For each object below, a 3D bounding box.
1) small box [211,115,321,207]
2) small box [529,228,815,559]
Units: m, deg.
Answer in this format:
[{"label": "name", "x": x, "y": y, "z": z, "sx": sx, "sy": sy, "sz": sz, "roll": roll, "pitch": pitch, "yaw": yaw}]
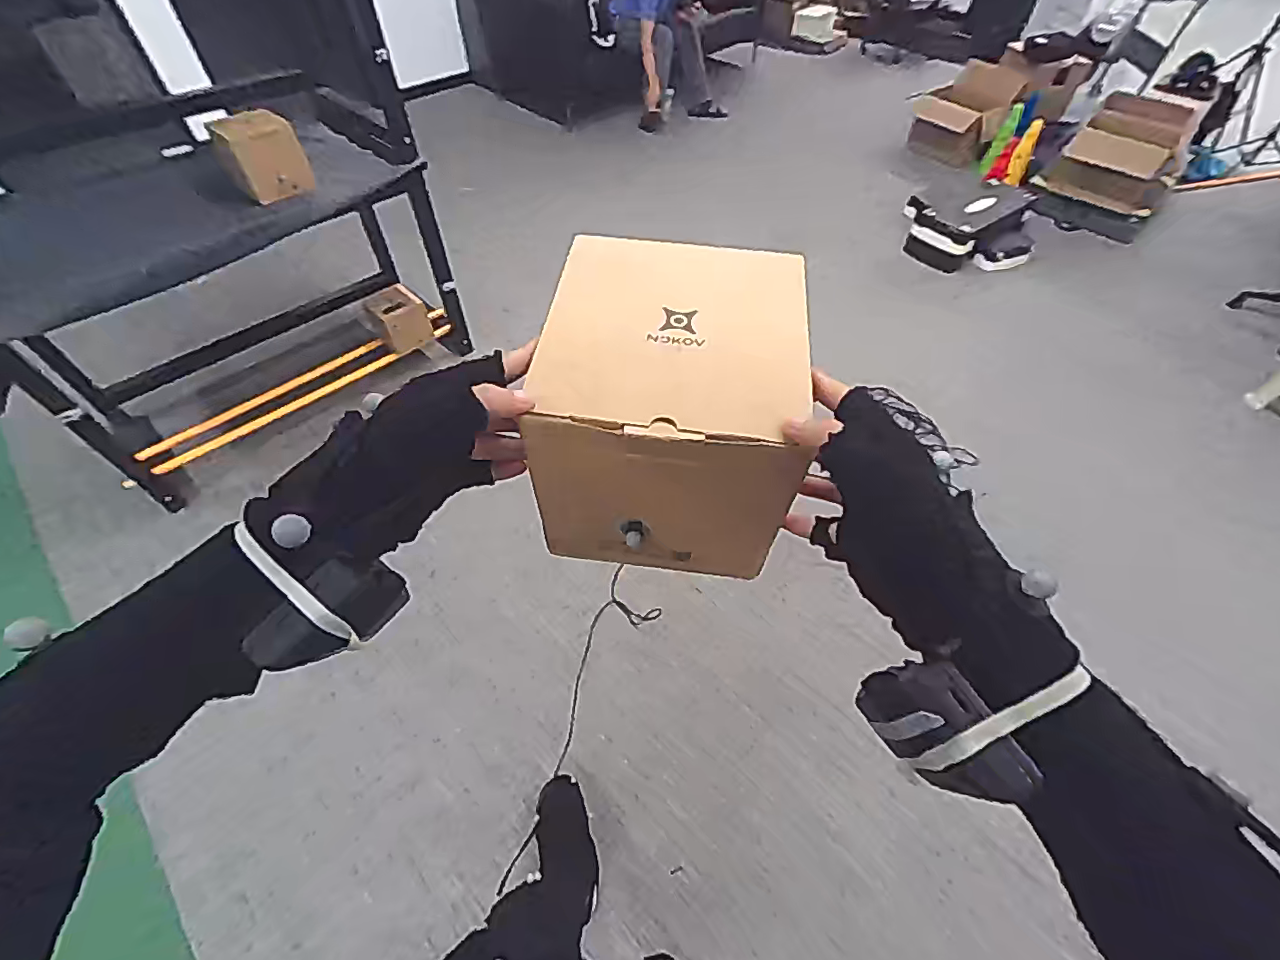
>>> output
[{"label": "small box", "x": -1.051, "y": -0.899, "z": 1.530, "sx": 0.179, "sy": 0.176, "sz": 0.168, "roll": 37, "pitch": 60, "yaw": 26}, {"label": "small box", "x": 0.024, "y": -0.061, "z": 0.414, "sx": 0.168, "sy": 0.176, "sz": 0.179, "roll": 6, "pitch": 56, "yaw": 3}]
